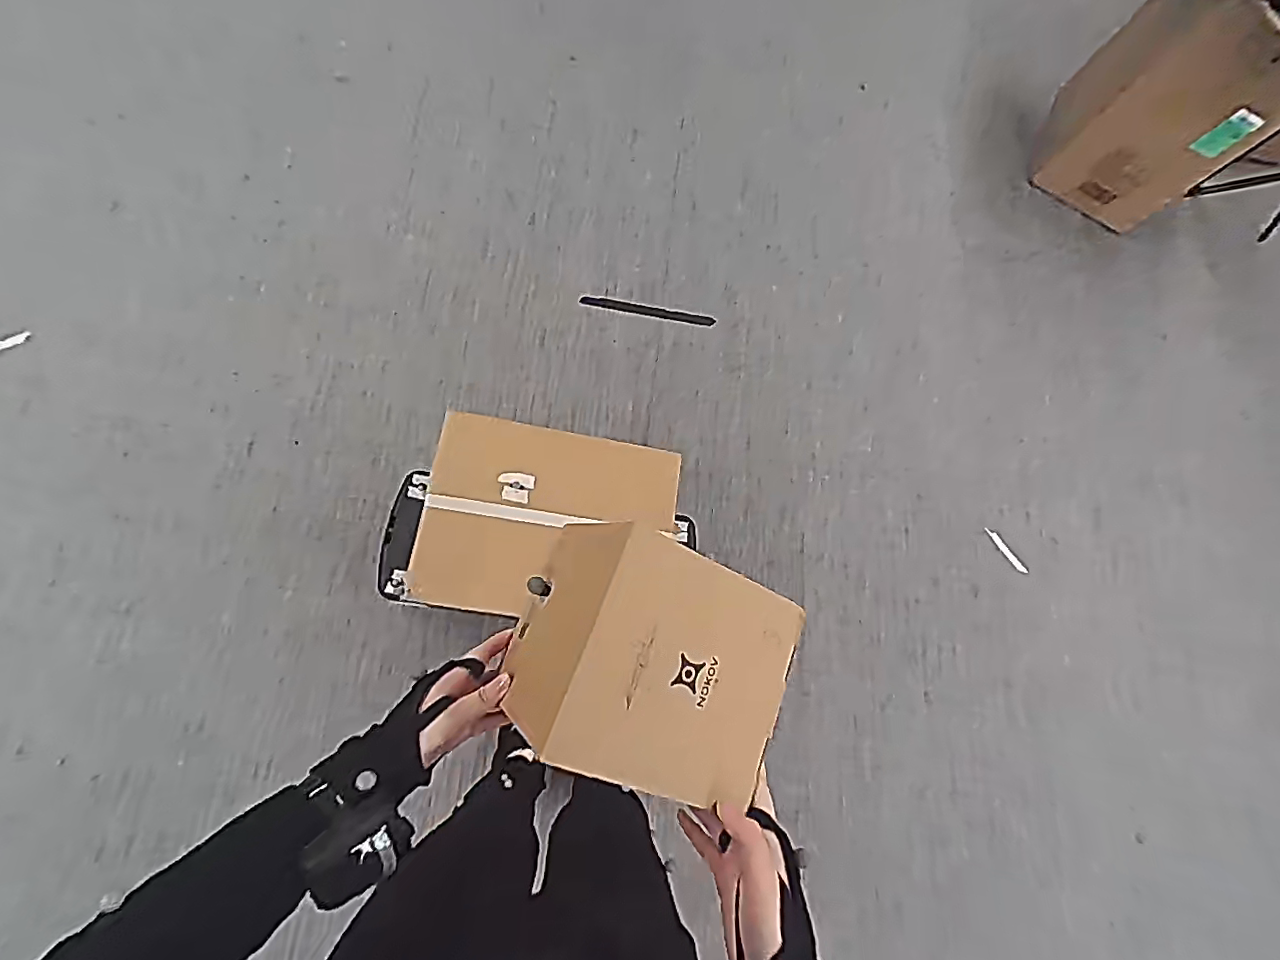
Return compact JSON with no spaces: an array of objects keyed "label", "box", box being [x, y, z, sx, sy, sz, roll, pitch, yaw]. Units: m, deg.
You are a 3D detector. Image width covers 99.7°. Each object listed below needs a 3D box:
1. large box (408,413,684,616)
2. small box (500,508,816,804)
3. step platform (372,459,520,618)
[{"label":"large box","box":[-0.156,0.099,1.014,0.408,0.320,0.320,10,74,-6]},{"label":"small box","box":[0.007,0.134,0.457,0.179,0.176,0.168,30,72,-20]},{"label":"step platform","box":[-0.226,0.176,1.232,0.684,0.204,0.286,15,74,-5]}]
